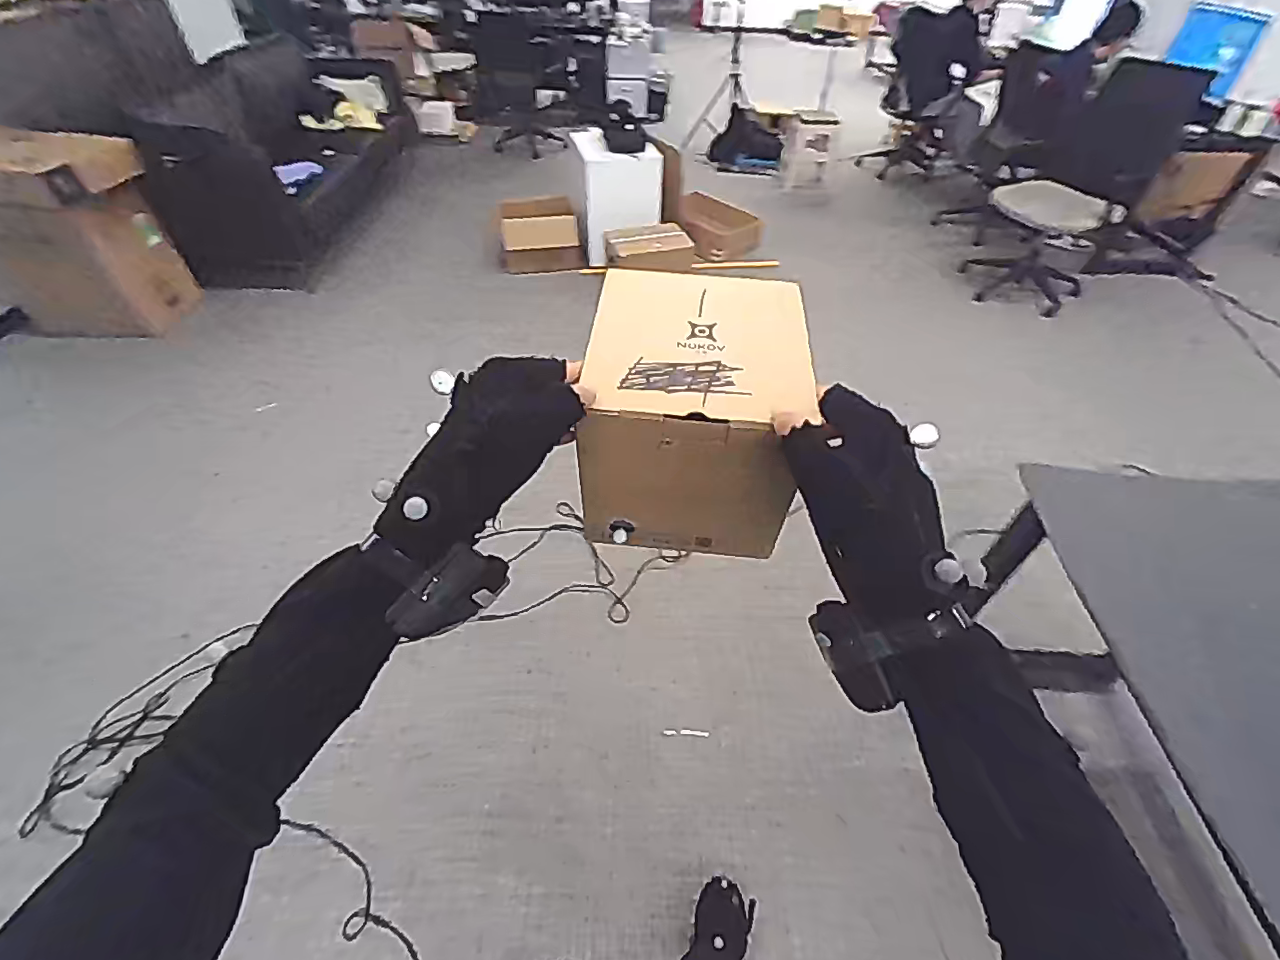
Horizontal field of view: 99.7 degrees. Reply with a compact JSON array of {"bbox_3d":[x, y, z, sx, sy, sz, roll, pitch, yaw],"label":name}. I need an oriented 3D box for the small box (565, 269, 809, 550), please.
[{"bbox_3d":[0.037,-0.057,0.468,0.168,0.176,0.179,5,51,2],"label":"small box"}]
